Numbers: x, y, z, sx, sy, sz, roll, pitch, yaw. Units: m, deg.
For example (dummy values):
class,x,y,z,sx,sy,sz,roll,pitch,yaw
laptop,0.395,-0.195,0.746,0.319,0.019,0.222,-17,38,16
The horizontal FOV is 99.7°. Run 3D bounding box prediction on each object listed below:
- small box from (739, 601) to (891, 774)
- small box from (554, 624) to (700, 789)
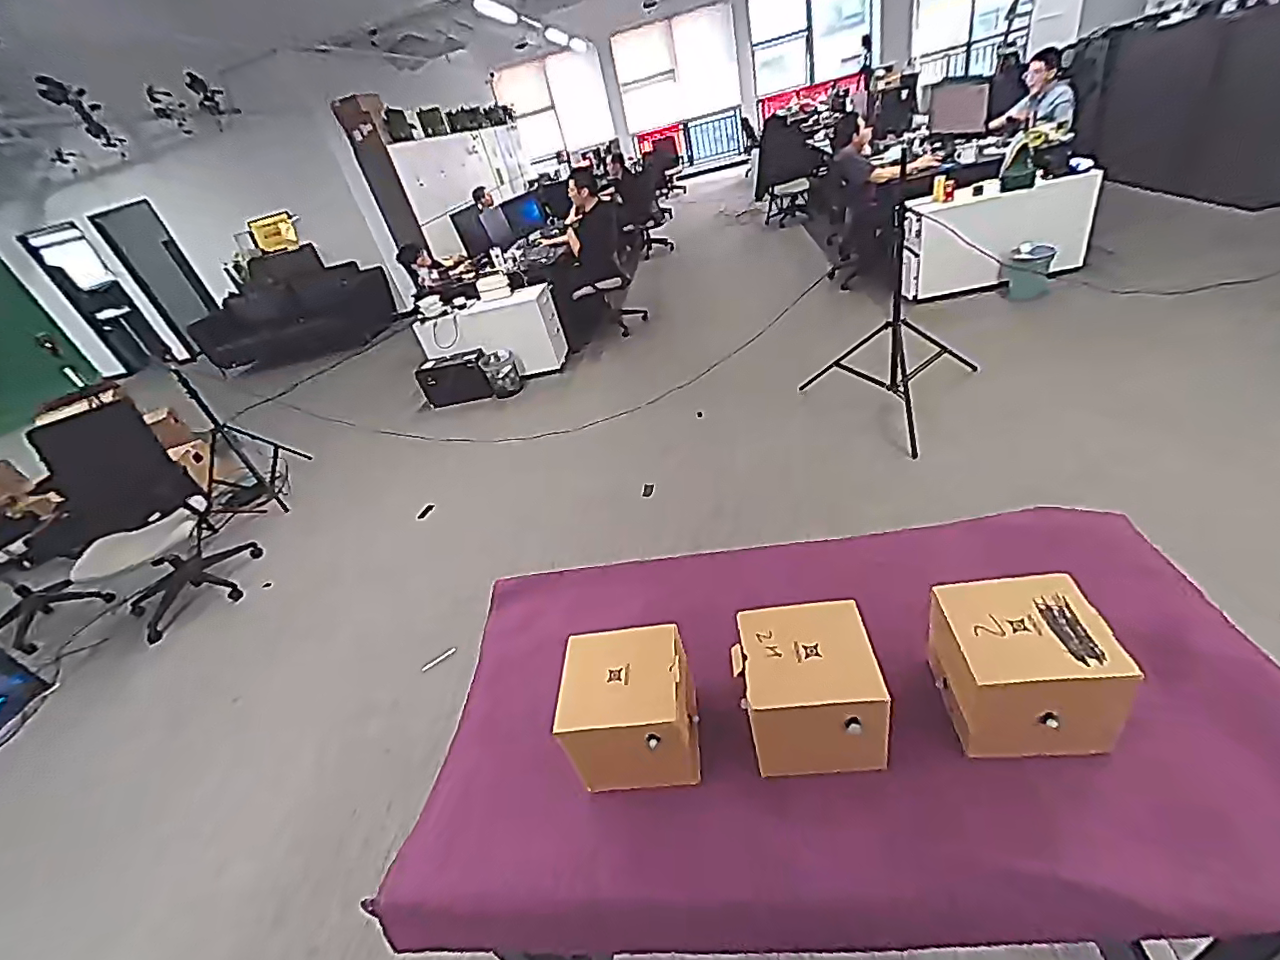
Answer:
class,x,y,z,sx,sy,sz,roll,pitch,yaw
small box,0.247,0.302,0.785,0.179,0.176,0.168,-10,33,10
small box,-0.012,0.349,0.828,0.179,0.176,0.168,-10,34,8
